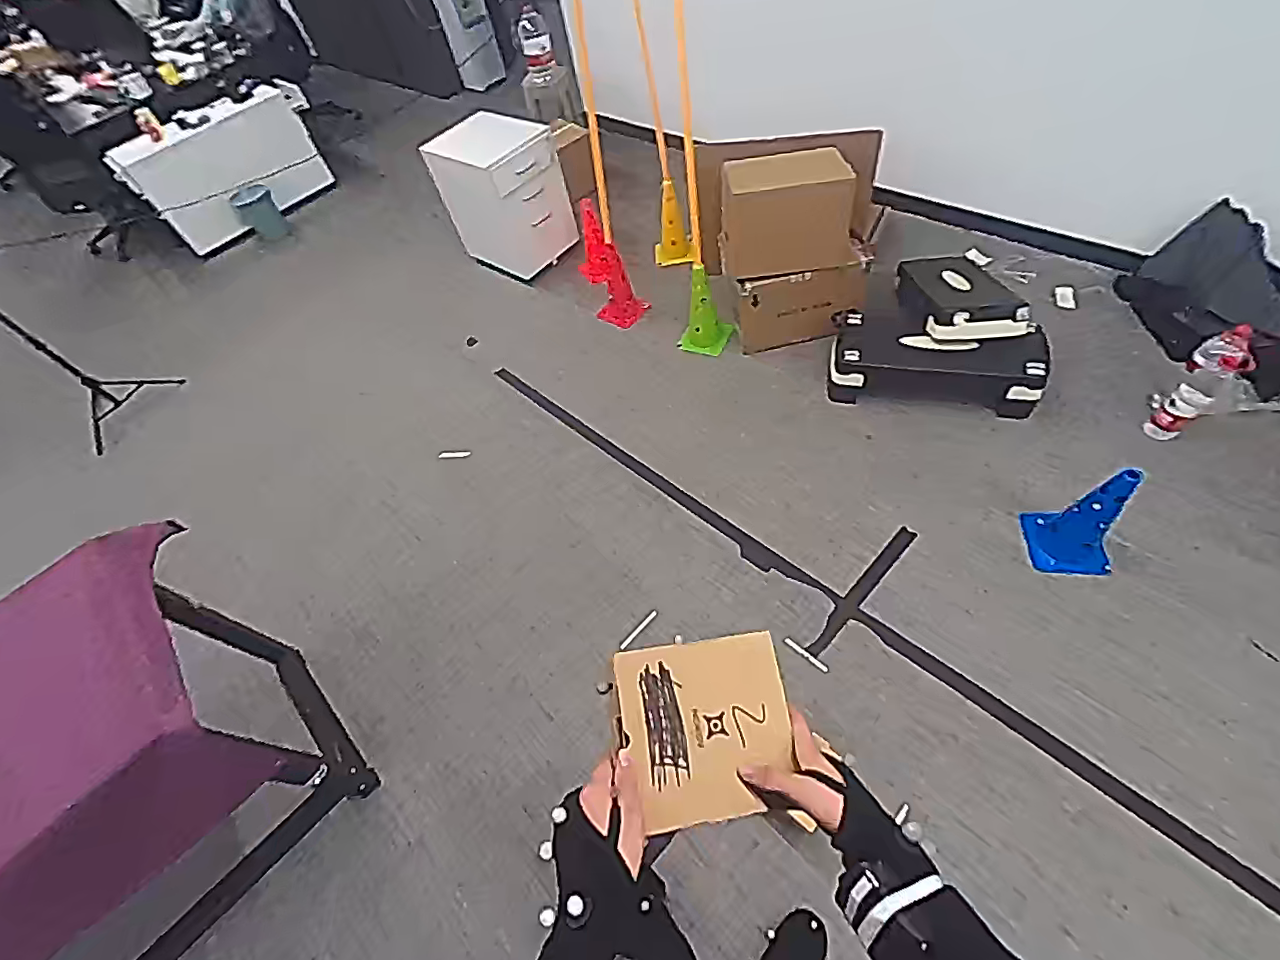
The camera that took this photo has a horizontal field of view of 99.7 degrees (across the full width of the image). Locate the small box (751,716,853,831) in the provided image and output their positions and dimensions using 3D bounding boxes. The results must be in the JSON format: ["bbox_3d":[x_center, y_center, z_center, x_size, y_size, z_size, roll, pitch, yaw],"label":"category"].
[{"bbox_3d":[0.386,0.710,1.300,0.168,0.176,0.179,32,67,28],"label":"small box"}]
